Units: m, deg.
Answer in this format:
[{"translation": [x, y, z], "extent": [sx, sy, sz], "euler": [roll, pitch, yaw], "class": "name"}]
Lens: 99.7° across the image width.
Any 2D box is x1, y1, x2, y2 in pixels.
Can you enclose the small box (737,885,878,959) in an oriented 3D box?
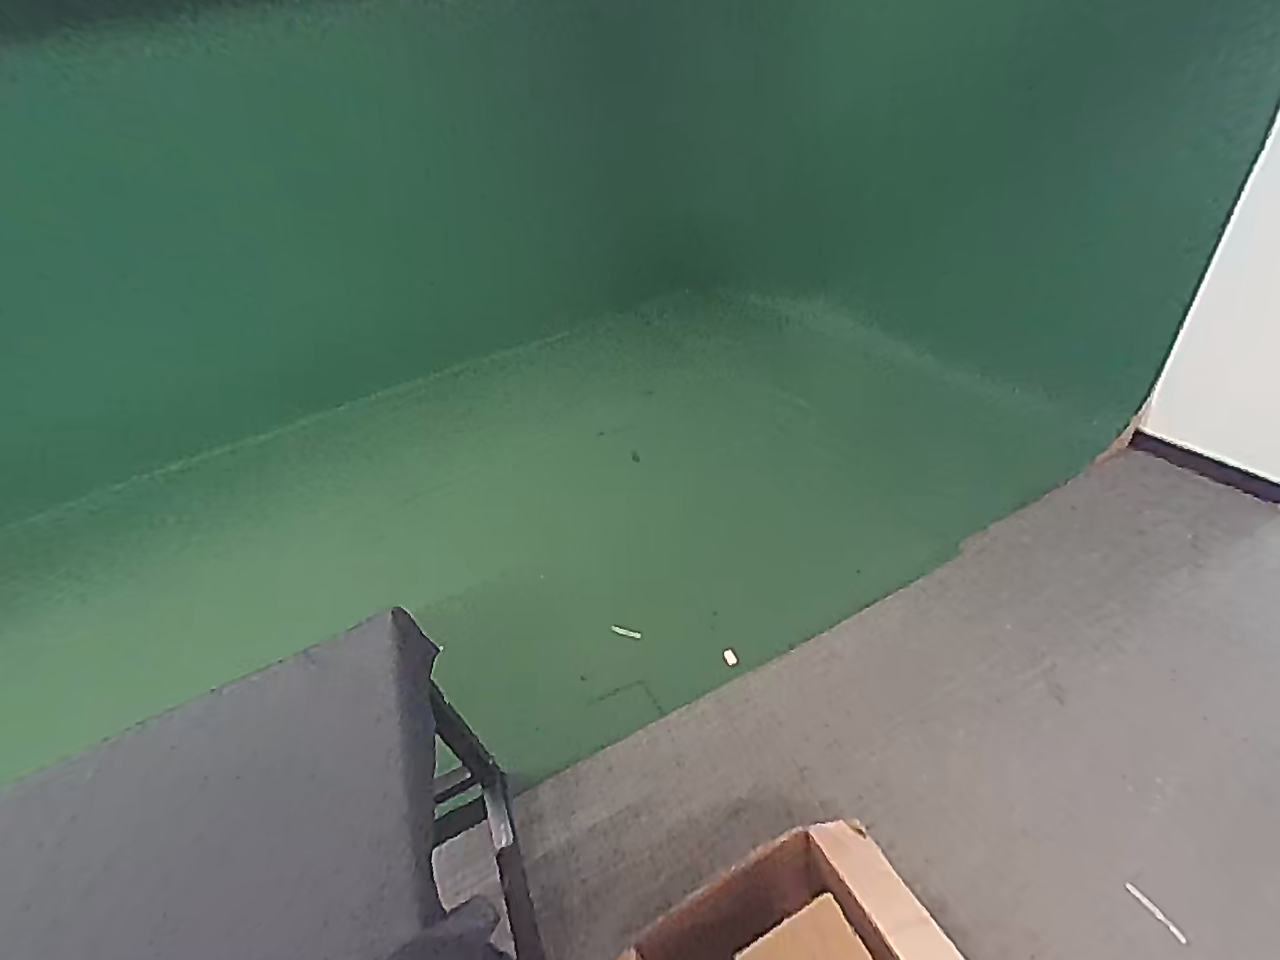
[{"translation": [0.260, 0.755, 0.804], "extent": [0.179, 0.176, 0.168], "euler": [-22, 40, -14], "class": "small box"}]
